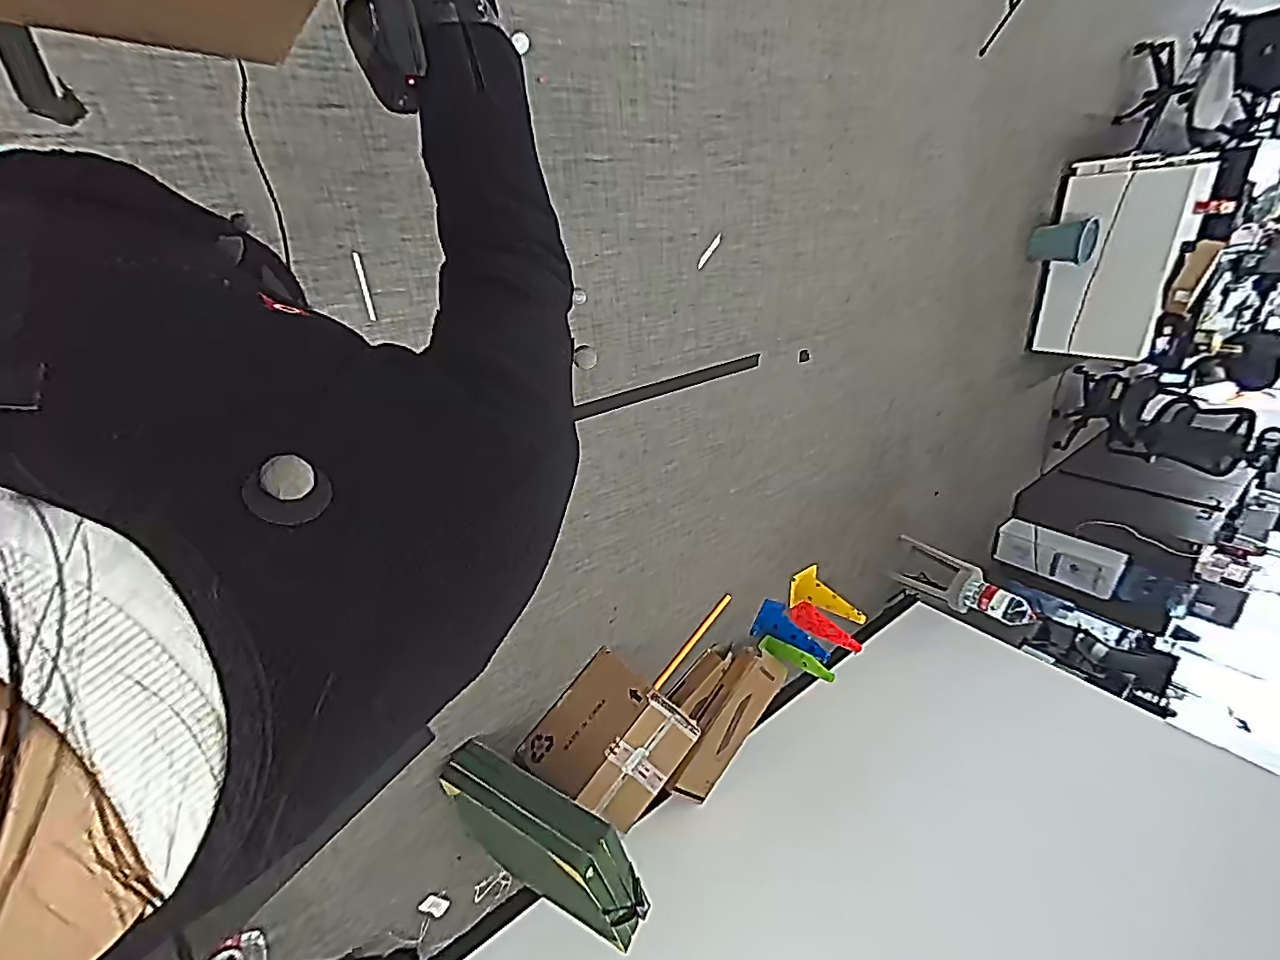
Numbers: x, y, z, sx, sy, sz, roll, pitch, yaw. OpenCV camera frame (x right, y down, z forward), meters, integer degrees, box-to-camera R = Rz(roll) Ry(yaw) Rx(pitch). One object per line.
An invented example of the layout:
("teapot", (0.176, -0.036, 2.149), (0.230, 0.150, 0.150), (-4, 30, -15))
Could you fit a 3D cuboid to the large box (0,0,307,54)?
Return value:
("large box", (-0.411, -0.438, 0.237), (0.408, 0.320, 0.320), (-17, 122, -34))
